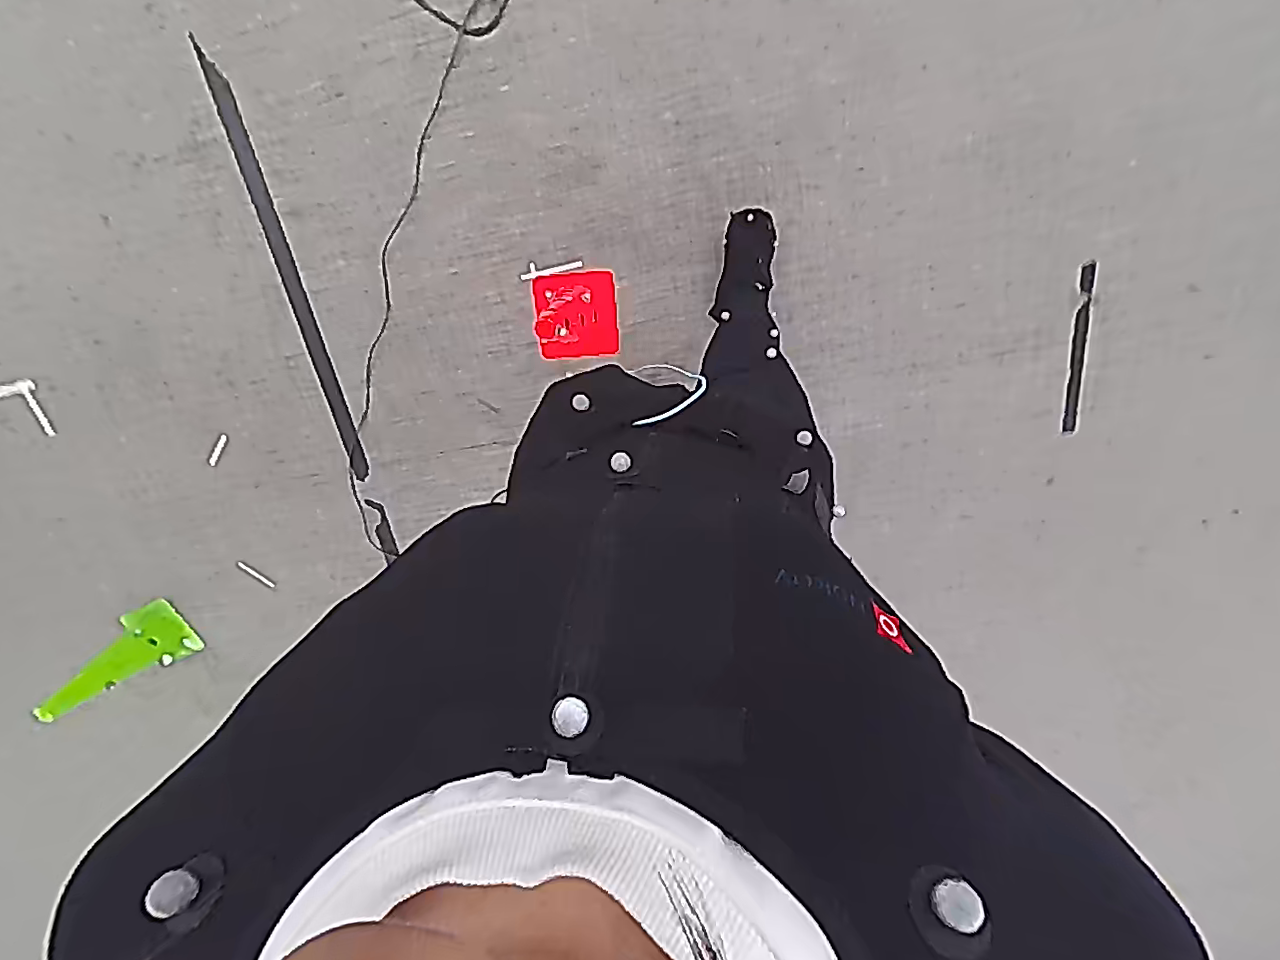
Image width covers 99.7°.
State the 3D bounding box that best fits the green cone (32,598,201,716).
[{"bbox_3d":[-1.543,0.541,1.569,0.200,0.368,0.202,-24,106,11],"label":"green cone"}]

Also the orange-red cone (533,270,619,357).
[{"bbox_3d":[-0.164,-0.339,1.148,0.198,0.360,0.199,-1,111,5],"label":"orange-red cone"}]
